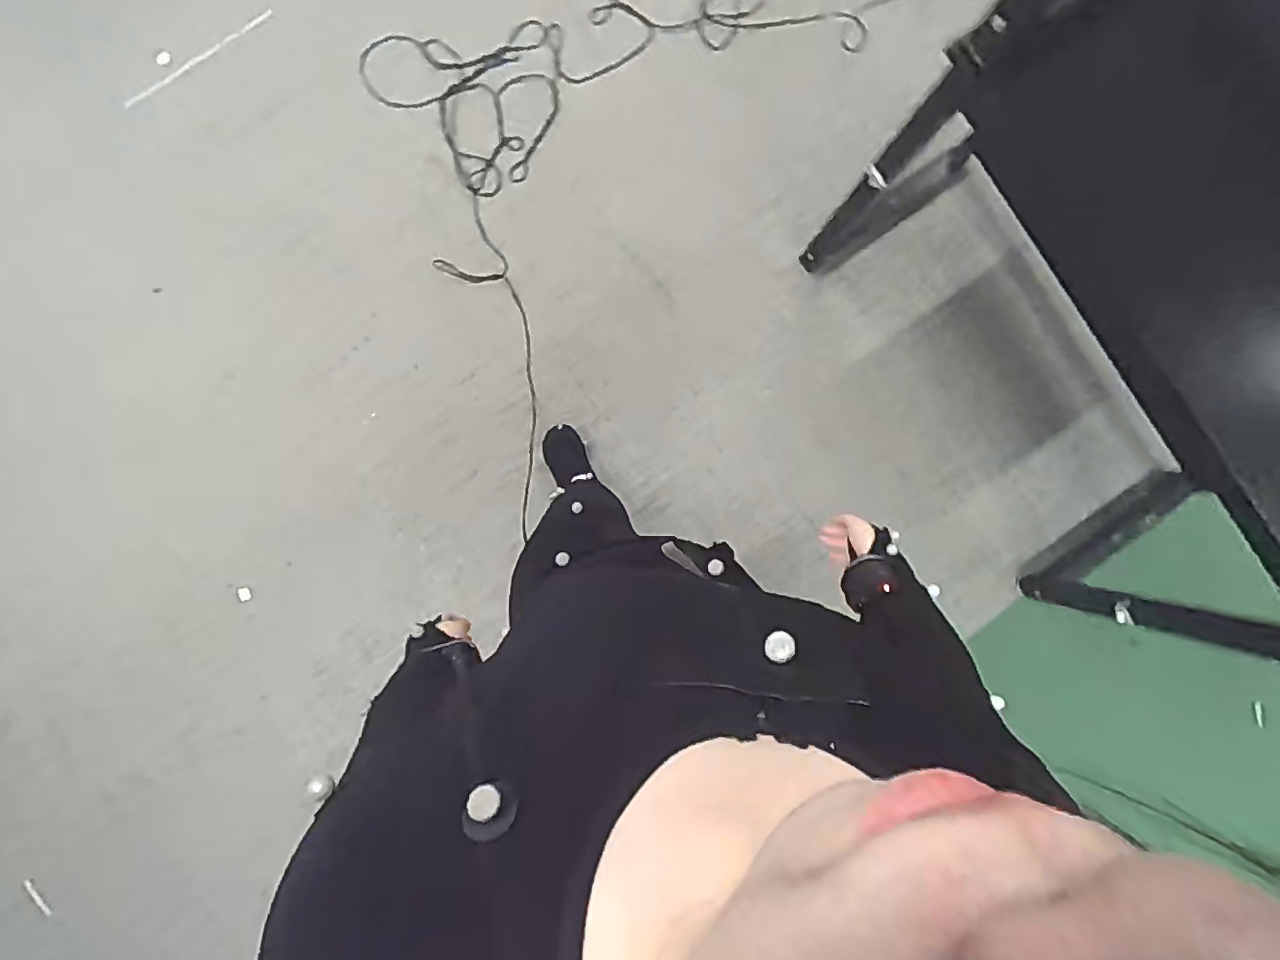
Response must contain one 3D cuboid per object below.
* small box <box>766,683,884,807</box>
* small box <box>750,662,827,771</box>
[{"bbox_3d":[0.416,0.599,1.253,0.168,0.176,0.179,-32,91,-1],"label":"small box"},{"bbox_3d":[0.415,0.609,1.415,0.179,0.176,0.168,-31,90,-2],"label":"small box"}]
